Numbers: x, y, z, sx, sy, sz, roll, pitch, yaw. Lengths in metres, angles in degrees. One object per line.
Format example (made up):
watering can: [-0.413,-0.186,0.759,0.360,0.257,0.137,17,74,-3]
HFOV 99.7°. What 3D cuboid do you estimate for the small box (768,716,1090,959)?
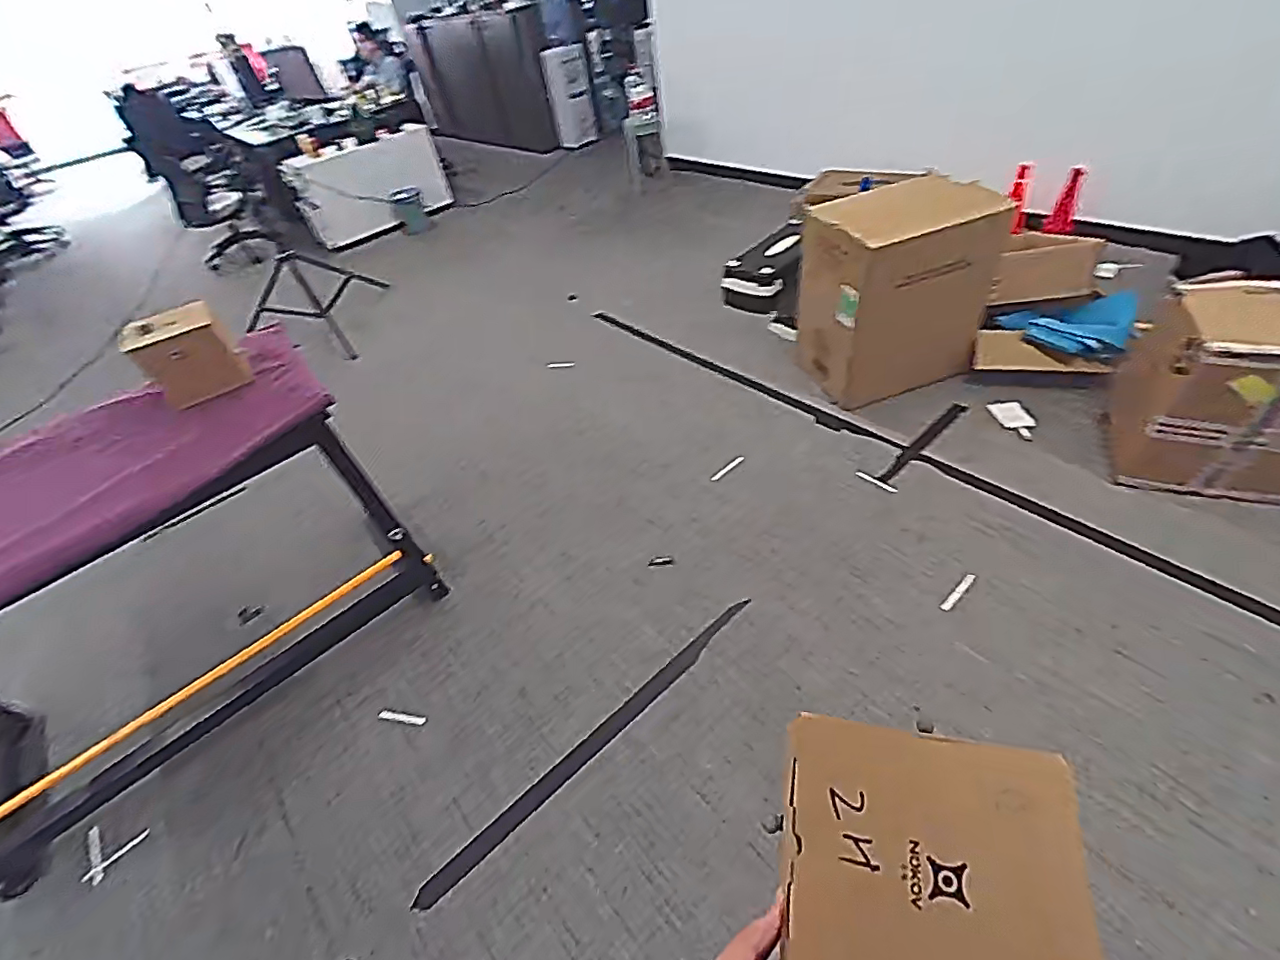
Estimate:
small box: [0.195,0.286,0.413,0.179,0.176,0.168,4,63,14]

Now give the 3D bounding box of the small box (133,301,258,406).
small box: [-1.095,-0.310,1.340,0.179,0.176,0.168,-30,49,-20]
